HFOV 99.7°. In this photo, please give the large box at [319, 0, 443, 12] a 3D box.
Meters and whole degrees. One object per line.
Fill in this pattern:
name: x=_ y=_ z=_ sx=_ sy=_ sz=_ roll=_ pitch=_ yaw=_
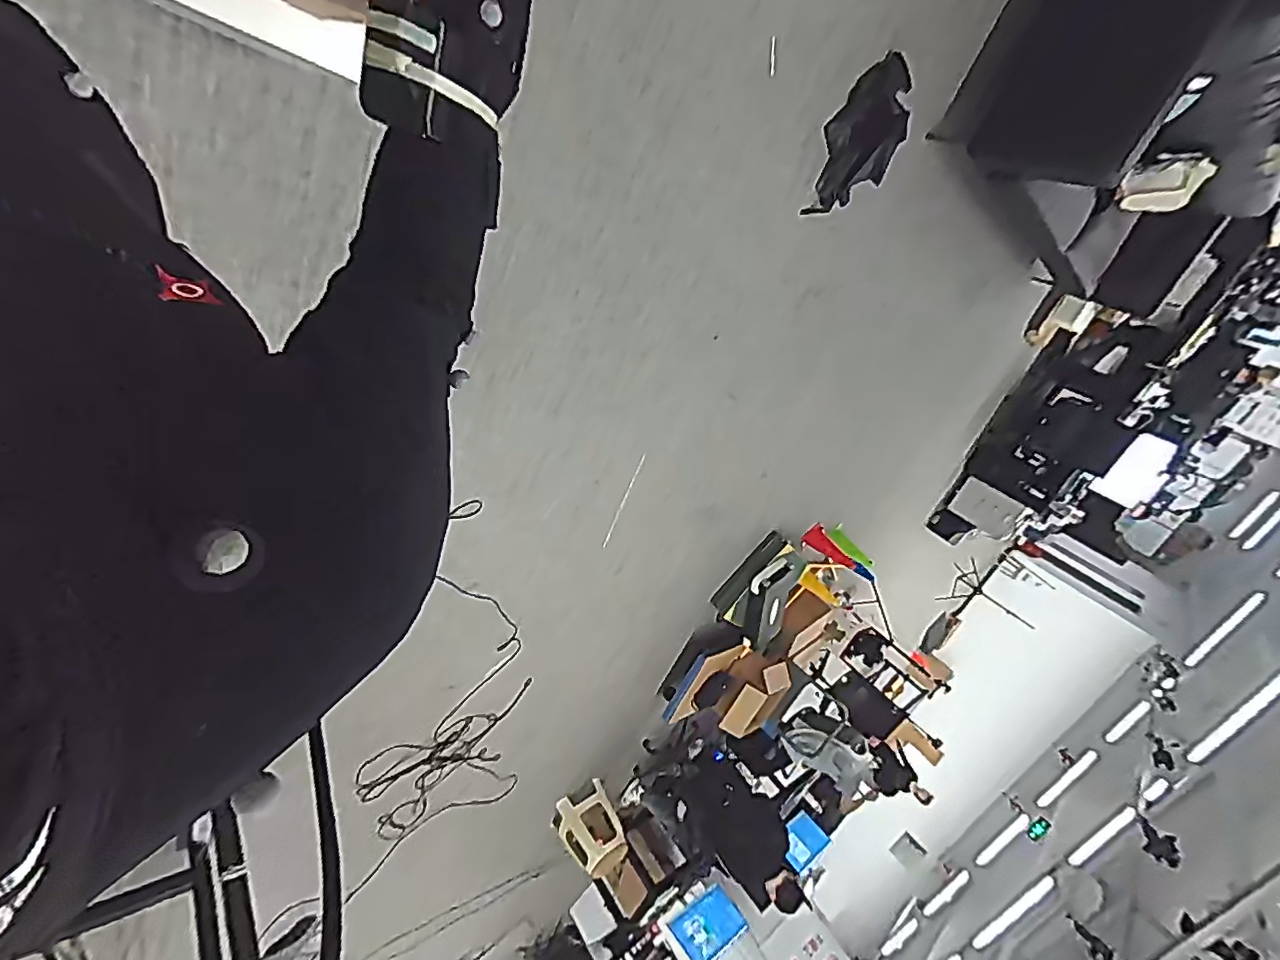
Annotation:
large box: x=-0.315 y=-0.519 z=0.258 sx=0.408 sy=0.320 sz=0.320 roll=-3 pitch=126 yaw=-46
